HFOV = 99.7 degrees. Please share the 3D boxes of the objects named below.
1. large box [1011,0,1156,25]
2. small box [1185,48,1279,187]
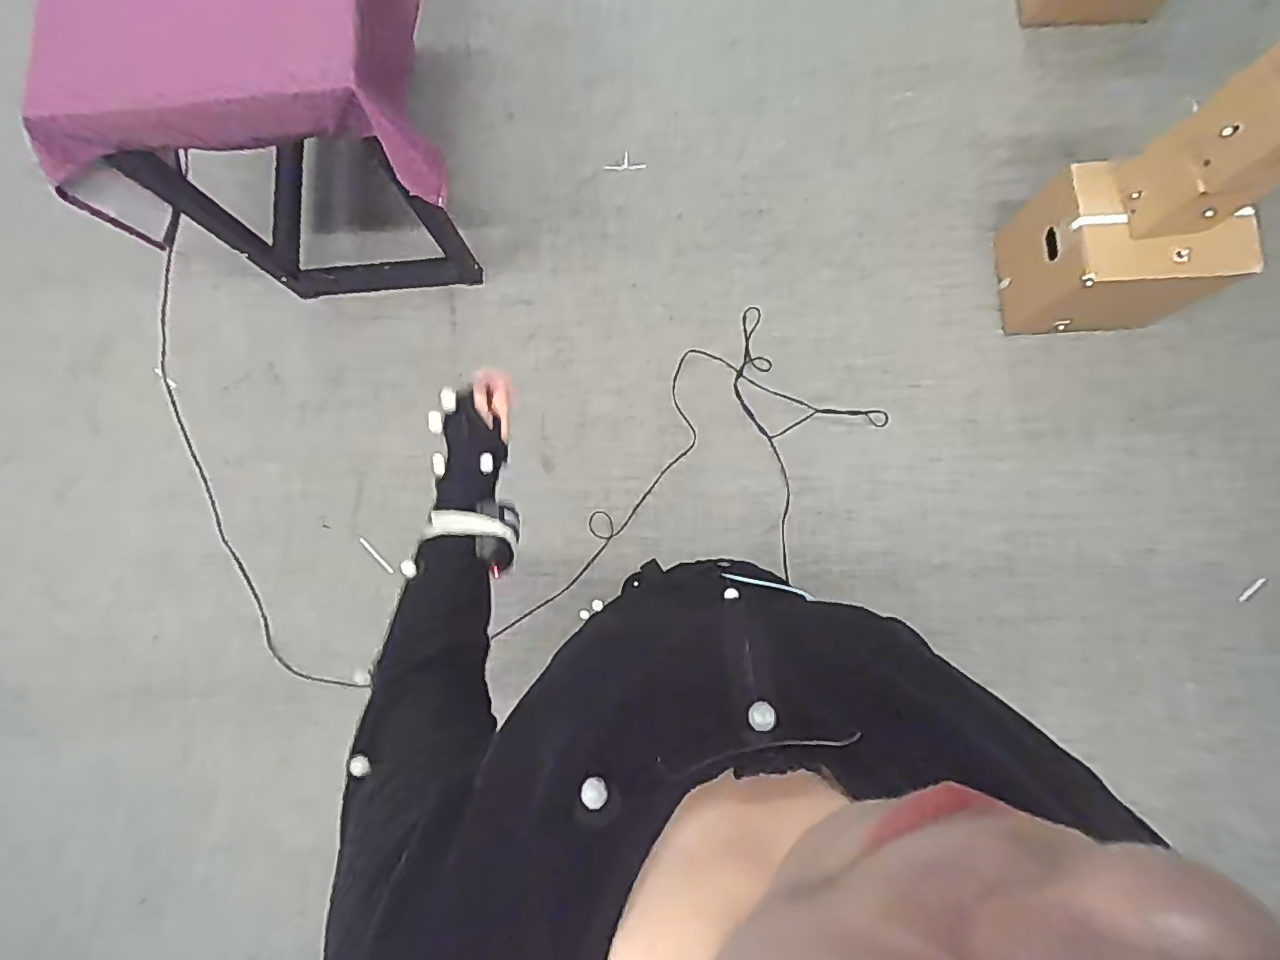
[{"bbox_3d":[1.373,-1.619,1.582,0.408,0.320,0.320,-2,81,1],"label":"large box"},{"bbox_3d":[1.219,-0.700,1.041,0.179,0.176,0.168,-11,80,2],"label":"small box"}]
